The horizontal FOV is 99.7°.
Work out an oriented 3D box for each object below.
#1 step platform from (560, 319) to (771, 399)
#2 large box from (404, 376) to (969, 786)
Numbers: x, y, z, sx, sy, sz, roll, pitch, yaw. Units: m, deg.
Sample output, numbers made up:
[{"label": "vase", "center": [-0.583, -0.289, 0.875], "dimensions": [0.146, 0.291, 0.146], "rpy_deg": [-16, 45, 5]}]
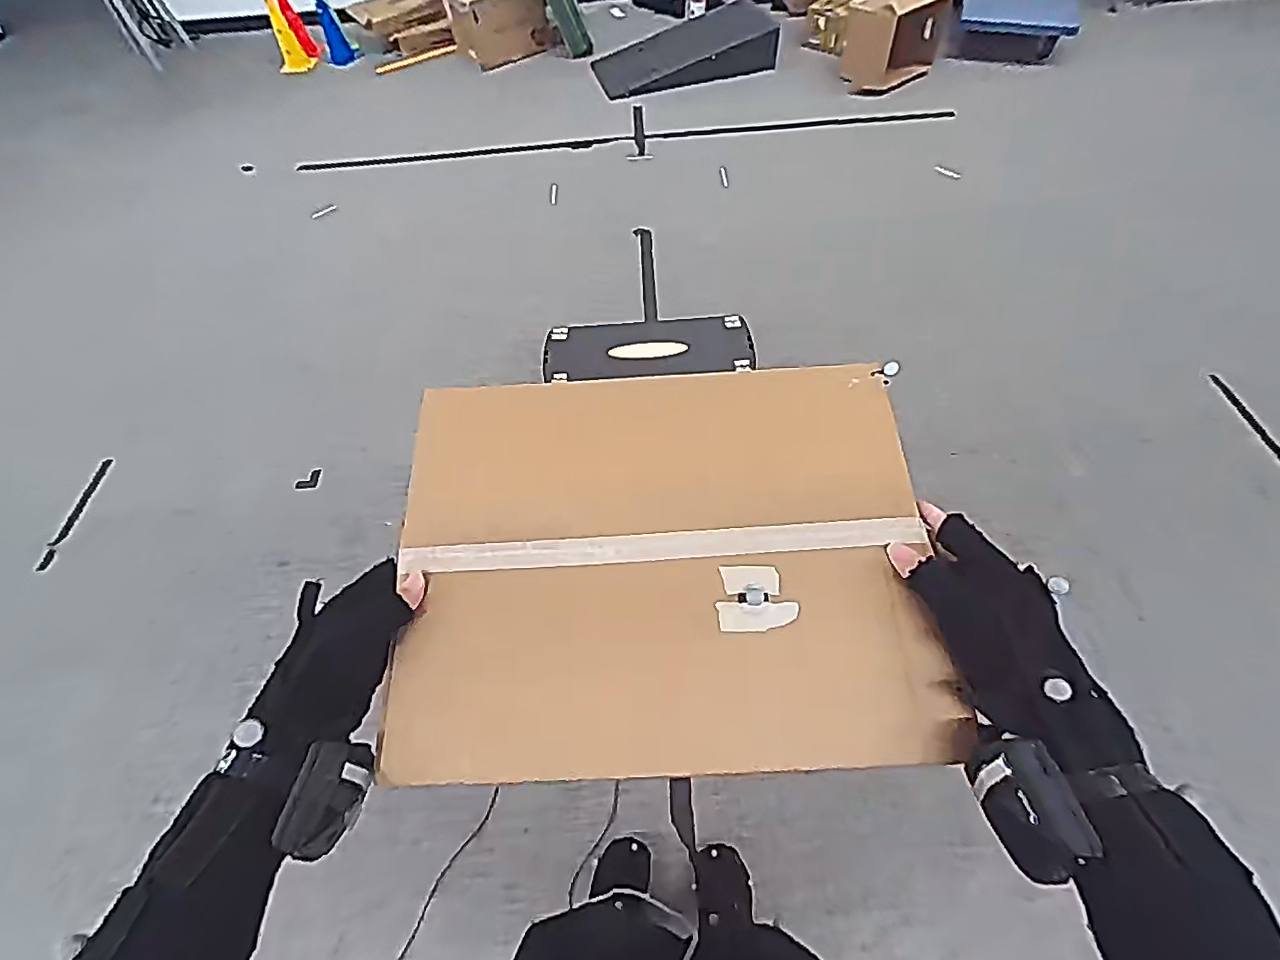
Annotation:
[{"label": "step platform", "center": [0.080, -0.351, 1.788], "dimensions": [0.684, 0.204, 0.286], "rpy_deg": [-4, 58, 0]}, {"label": "large box", "center": [0.027, 0.119, 0.570], "dimensions": [0.408, 0.320, 0.320], "rpy_deg": [-4, 67, 1]}]
